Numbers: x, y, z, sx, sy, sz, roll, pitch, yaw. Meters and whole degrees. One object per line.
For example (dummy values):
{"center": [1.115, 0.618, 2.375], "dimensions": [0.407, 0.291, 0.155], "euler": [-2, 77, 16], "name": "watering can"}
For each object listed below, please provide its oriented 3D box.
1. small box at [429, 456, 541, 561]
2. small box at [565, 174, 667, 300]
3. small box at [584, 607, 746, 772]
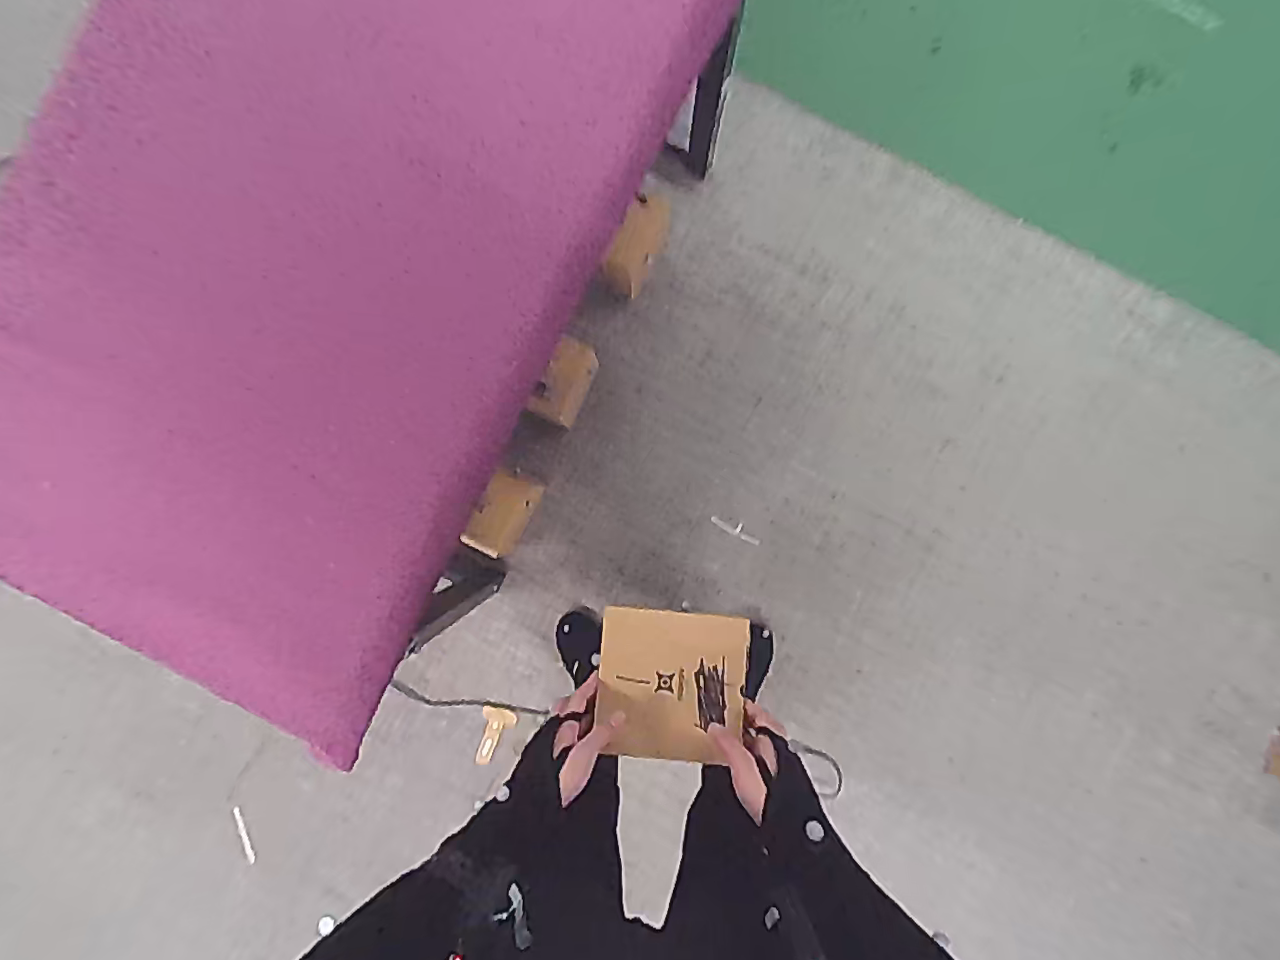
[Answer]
{"center": [-0.343, 0.064, 1.237], "dimensions": [0.168, 0.176, 0.179], "euler": [27, 89, 2], "name": "small box"}
{"center": [-0.048, -0.547, 1.244], "dimensions": [0.168, 0.176, 0.179], "euler": [30, 90, 1], "name": "small box"}
{"center": [0.031, 0.258, 0.702], "dimensions": [0.179, 0.176, 0.168], "euler": [6, 77, 1], "name": "small box"}
